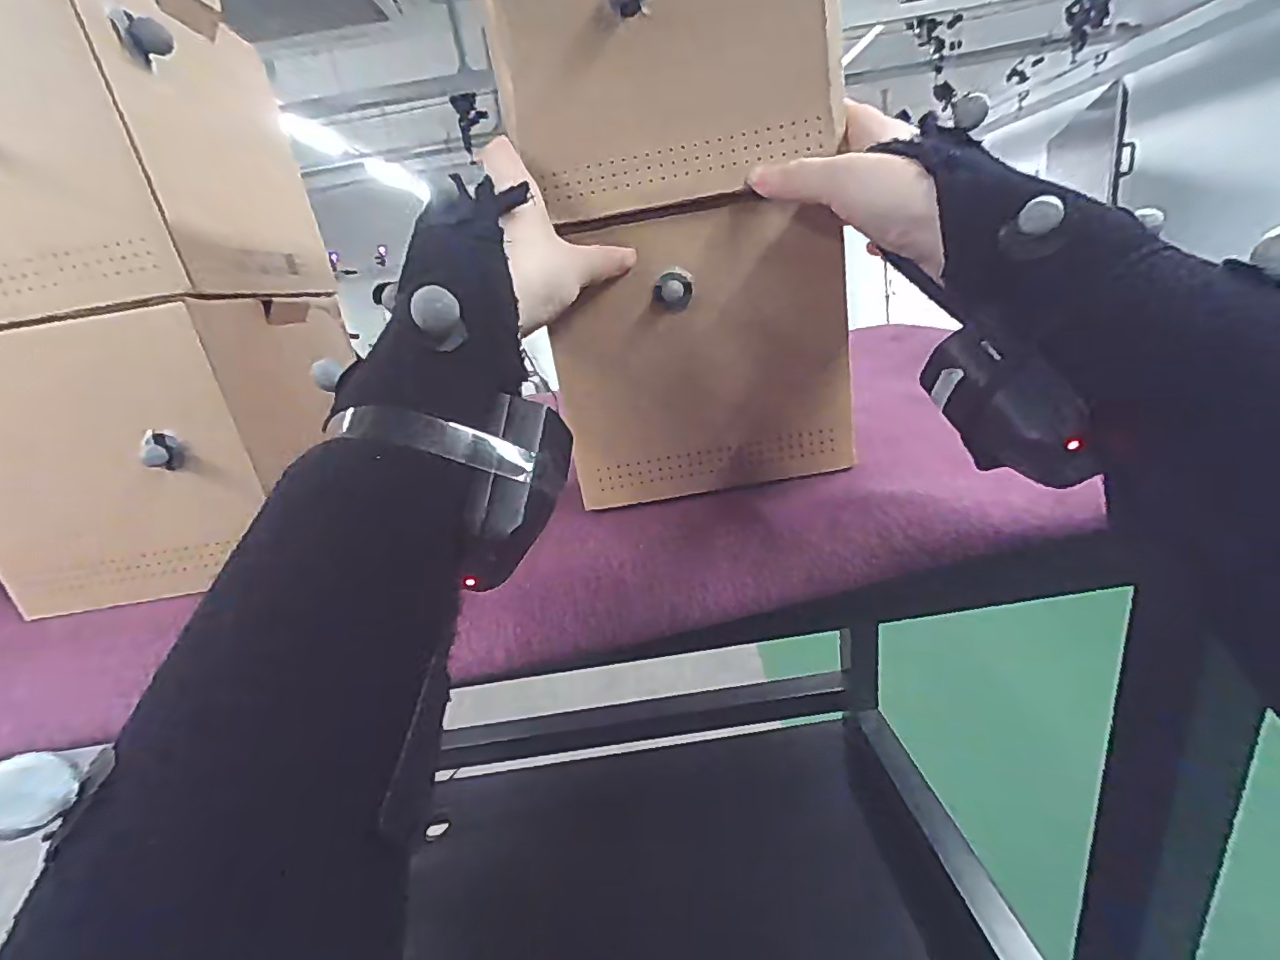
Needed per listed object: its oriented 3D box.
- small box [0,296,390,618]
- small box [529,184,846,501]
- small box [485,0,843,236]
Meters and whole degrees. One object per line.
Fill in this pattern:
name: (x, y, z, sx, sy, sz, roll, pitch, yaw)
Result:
small box: (-0.307, -0.027, 0.379, 0.179, 0.176, 0.168, -10, 19, 0)
small box: (0.036, -0.092, 0.396, 0.179, 0.176, 0.168, -9, 18, 2)
small box: (0.012, -0.245, 0.340, 0.179, 0.176, 0.168, -9, 18, 4)
